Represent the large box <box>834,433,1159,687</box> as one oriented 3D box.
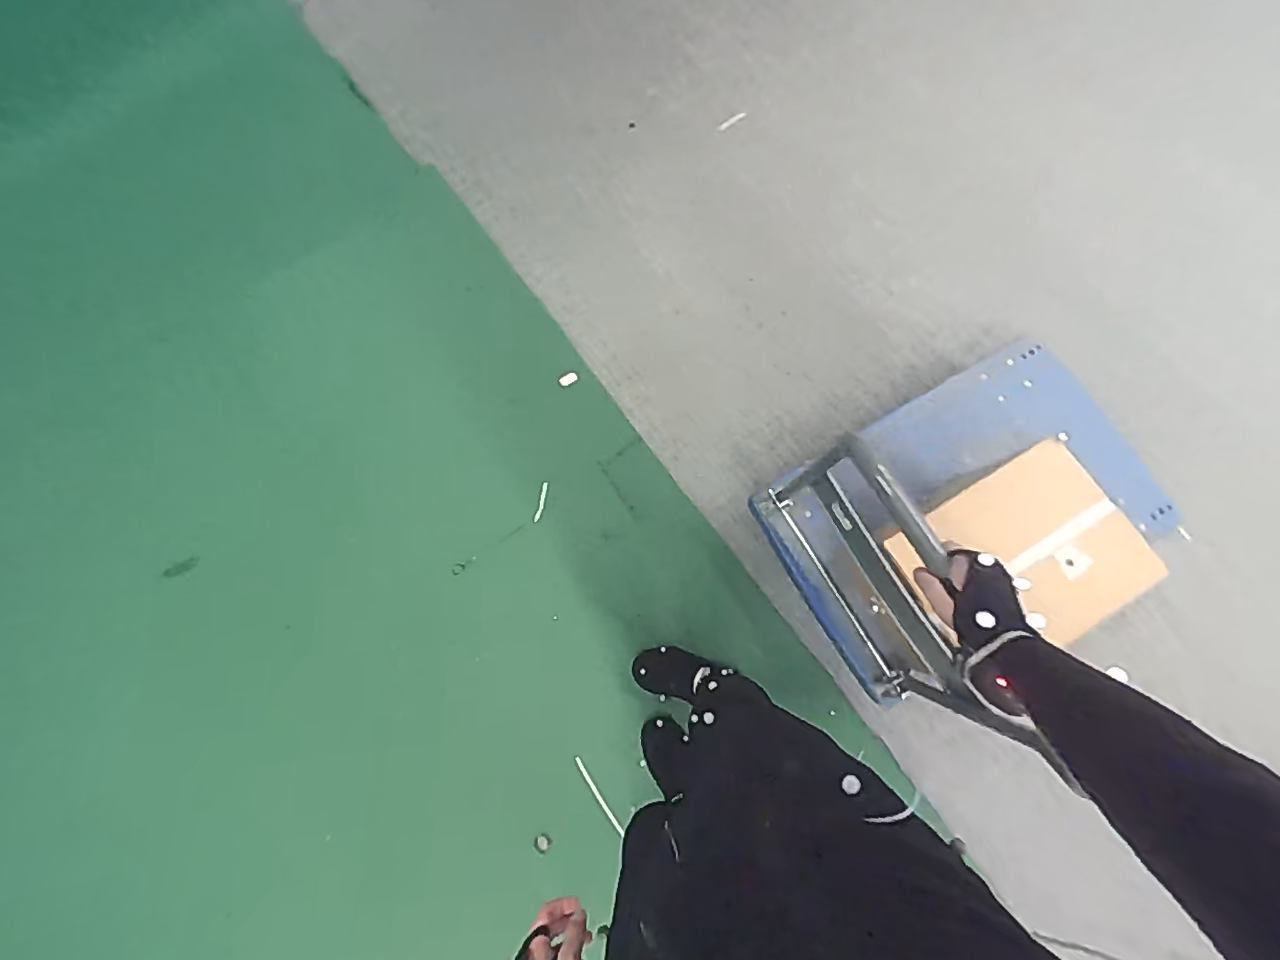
[{"bbox_3d":[0.699,0.170,1.134,0.408,0.320,0.320,-31,79,-5],"label":"large box"}]
